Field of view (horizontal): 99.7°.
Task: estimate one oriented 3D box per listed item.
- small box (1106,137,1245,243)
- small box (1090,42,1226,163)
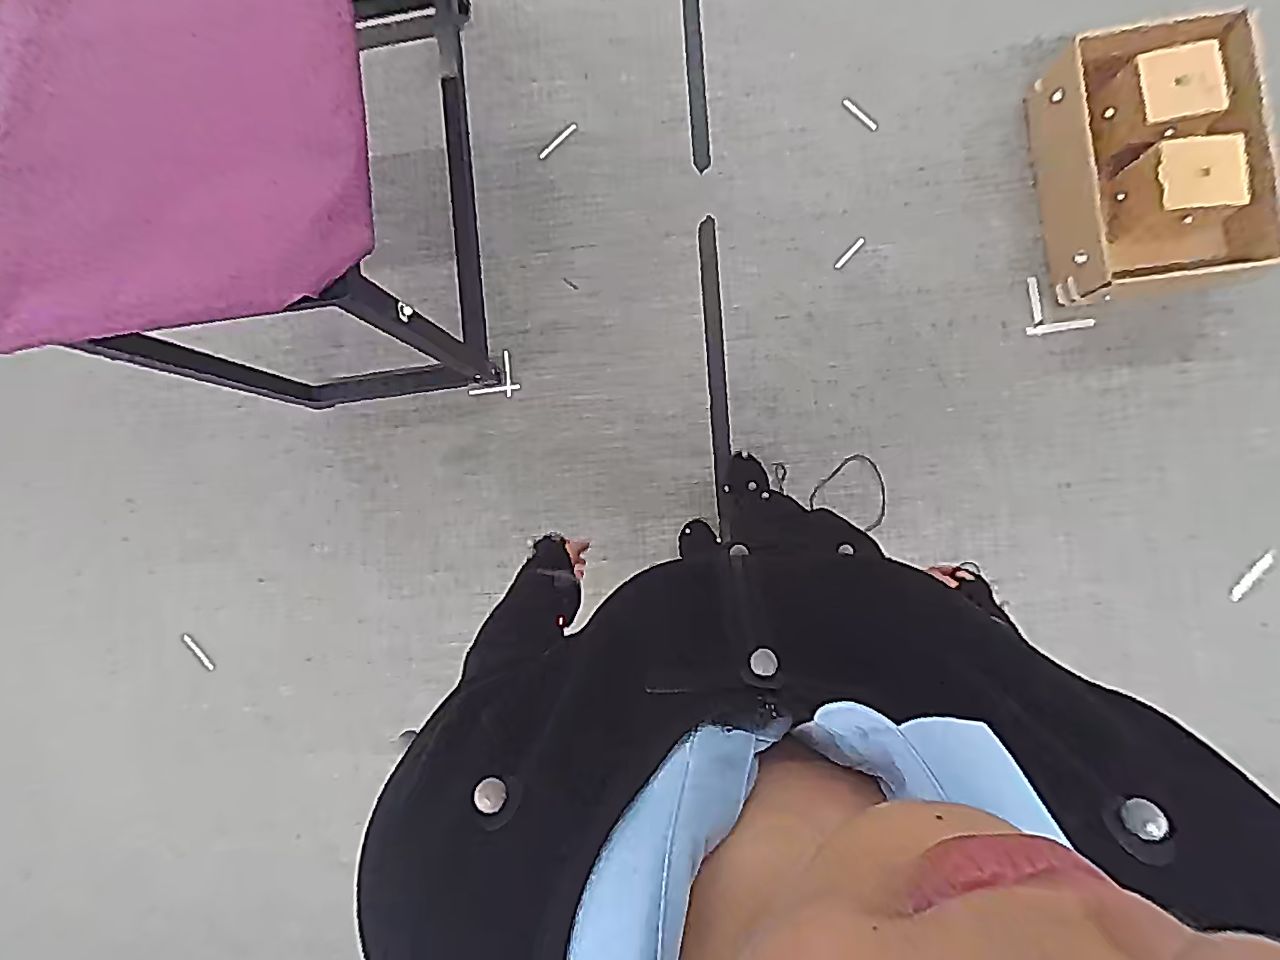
[{"bbox_3d":[1.289,-0.696,1.311,0.179,0.176,0.168,-1,87,6],"label":"small box"},{"bbox_3d":[1.247,-0.909,1.321,0.179,0.176,0.168,-8,89,5],"label":"small box"}]
